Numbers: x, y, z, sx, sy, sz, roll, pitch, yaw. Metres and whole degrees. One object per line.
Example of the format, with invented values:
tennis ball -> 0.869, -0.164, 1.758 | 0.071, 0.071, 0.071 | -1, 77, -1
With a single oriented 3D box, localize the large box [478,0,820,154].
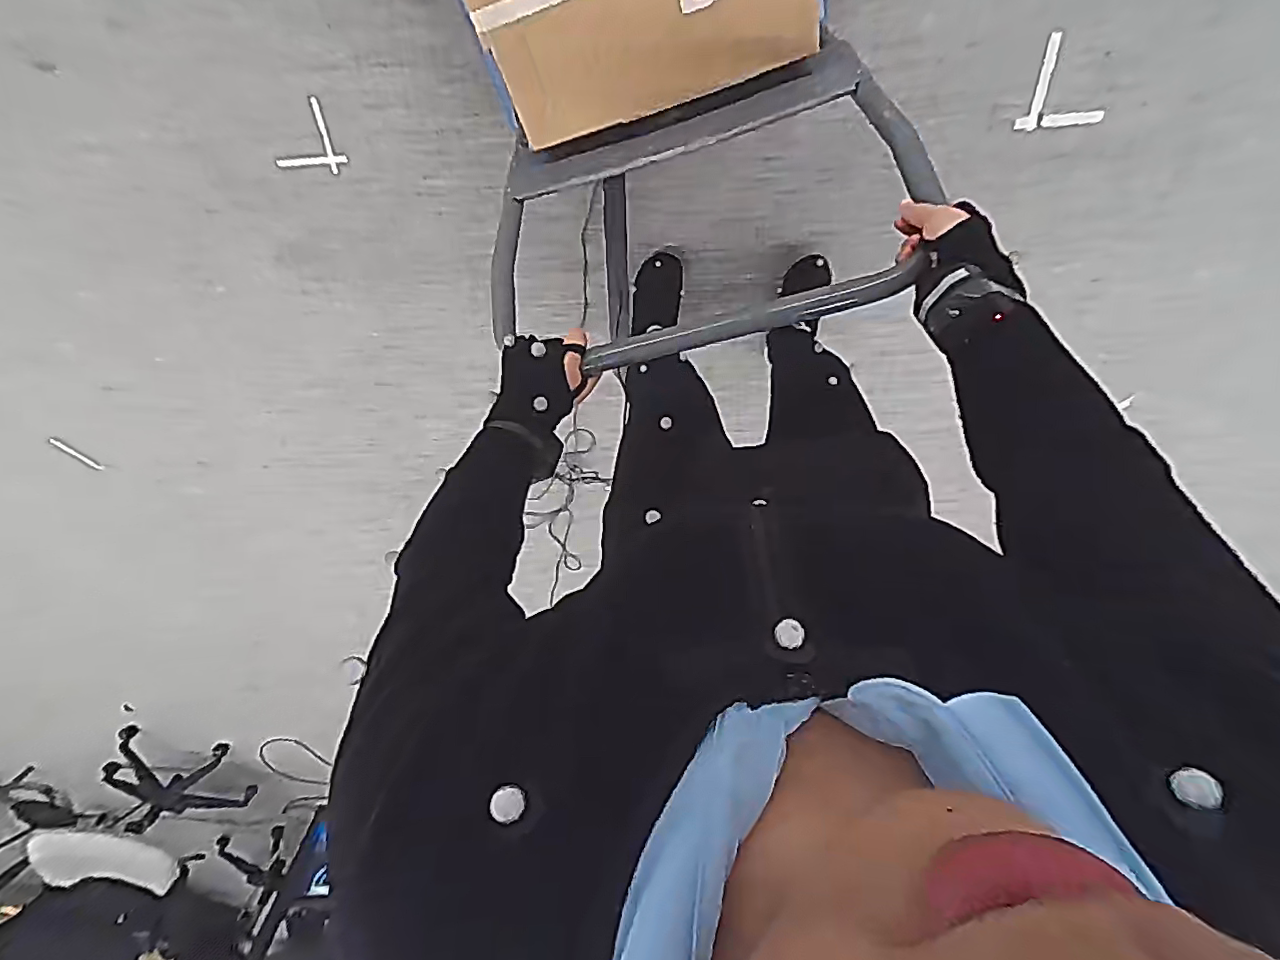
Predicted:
large box -> -0.007, -0.719, 0.727 | 0.408, 0.320, 0.320 | -13, 140, 11
